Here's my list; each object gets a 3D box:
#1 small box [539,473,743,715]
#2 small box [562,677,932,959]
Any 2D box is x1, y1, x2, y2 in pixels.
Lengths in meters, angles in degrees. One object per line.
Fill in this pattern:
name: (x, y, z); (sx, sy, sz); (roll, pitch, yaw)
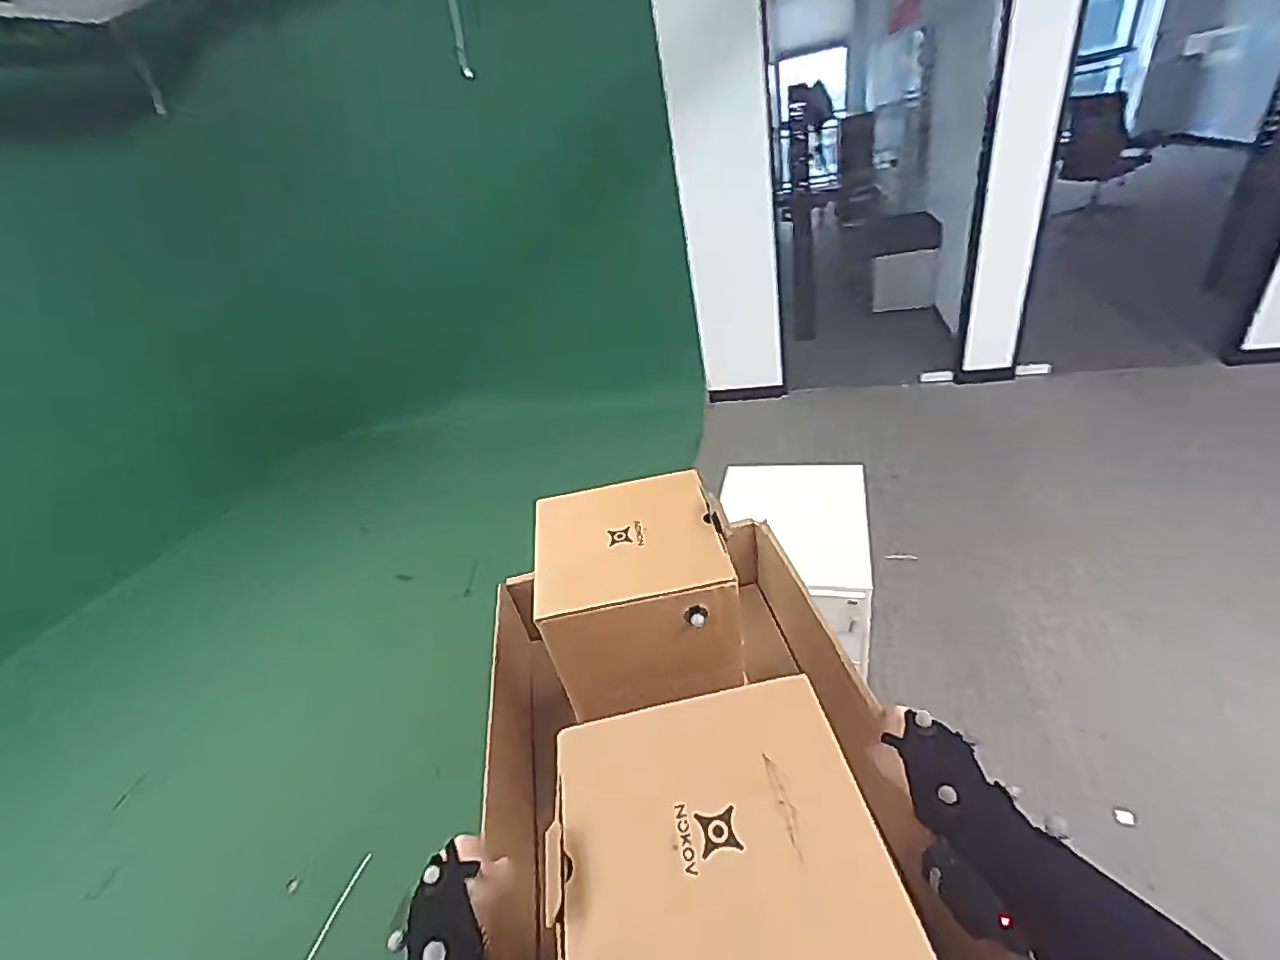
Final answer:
small box: (0.002, 0.119, 0.565); (0.179, 0.176, 0.168); (-11, 36, -1)
small box: (0.055, 0.263, 0.354); (0.179, 0.176, 0.168); (-12, 36, -1)
